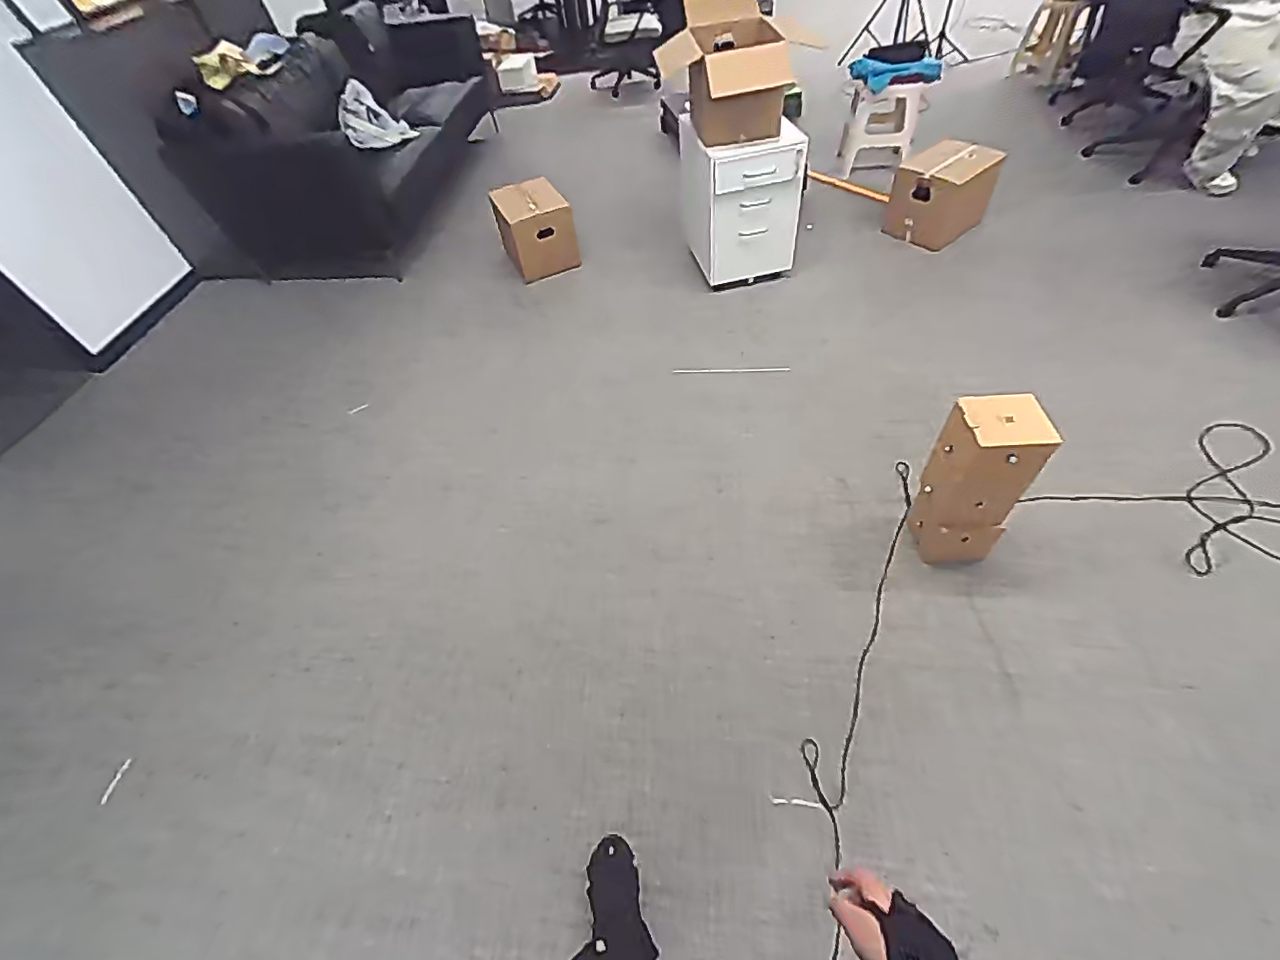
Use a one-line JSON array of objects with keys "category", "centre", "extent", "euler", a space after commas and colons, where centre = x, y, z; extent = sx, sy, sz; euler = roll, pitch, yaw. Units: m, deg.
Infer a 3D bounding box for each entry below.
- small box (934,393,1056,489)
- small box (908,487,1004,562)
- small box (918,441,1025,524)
[{"category": "small box", "centre": [0.857, -0.092, 1.325], "extent": [0.179, 0.176, 0.168], "euler": [-4, 50, 6]}, {"category": "small box", "centre": [0.900, 0.124, 1.566], "extent": [0.179, 0.176, 0.168], "euler": [-5, 51, 3]}, {"category": "small box", "centre": [0.880, 0.007, 1.453], "extent": [0.179, 0.176, 0.168], "euler": [-3, 50, 7]}]
